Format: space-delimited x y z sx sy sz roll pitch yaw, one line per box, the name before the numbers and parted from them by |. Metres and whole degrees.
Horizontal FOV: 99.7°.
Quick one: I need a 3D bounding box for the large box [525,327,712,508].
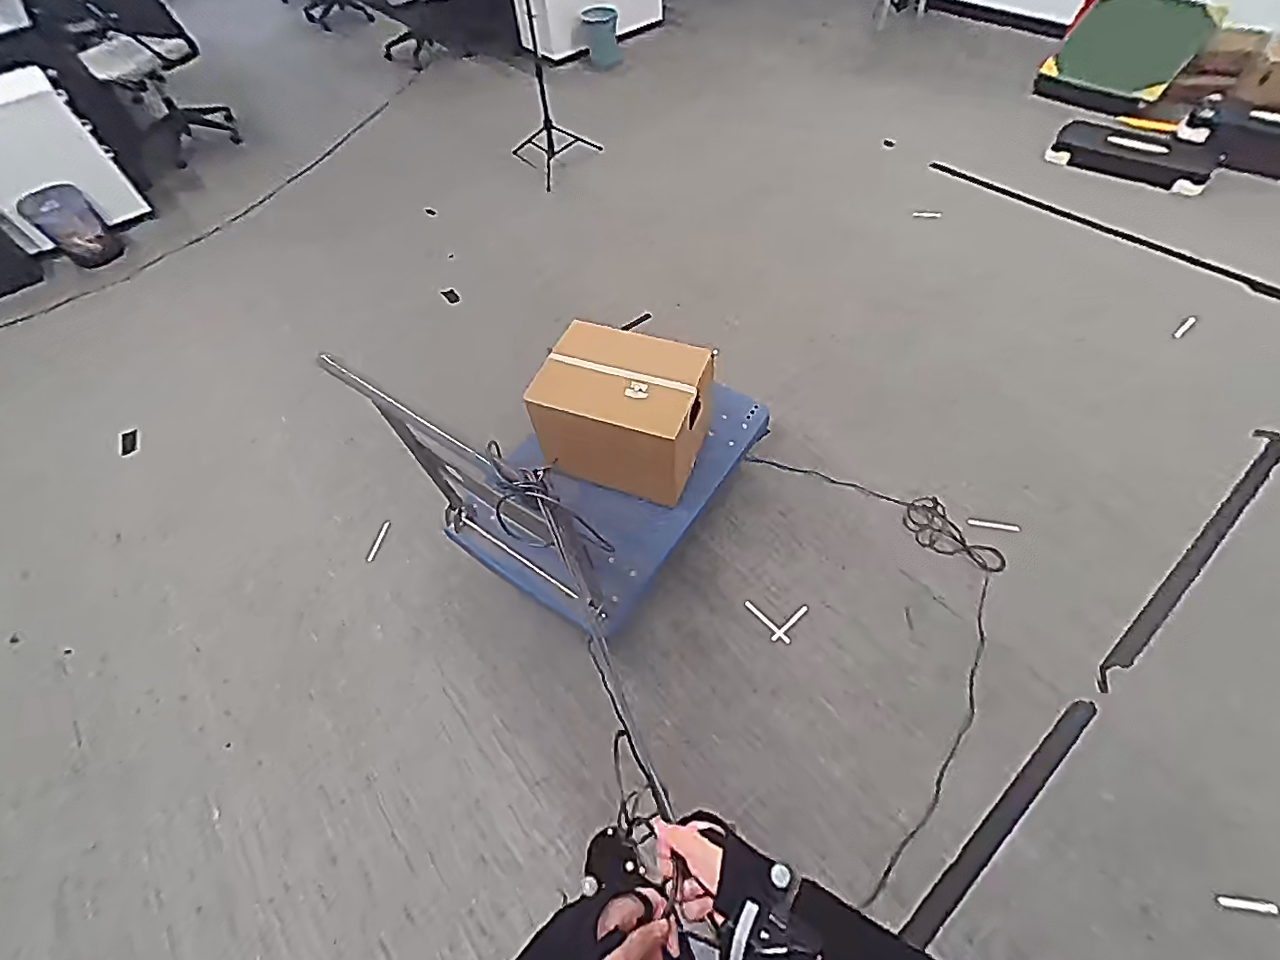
large box | -0.046 -0.170 1.485 0.408 0.320 0.320 17 59 14
